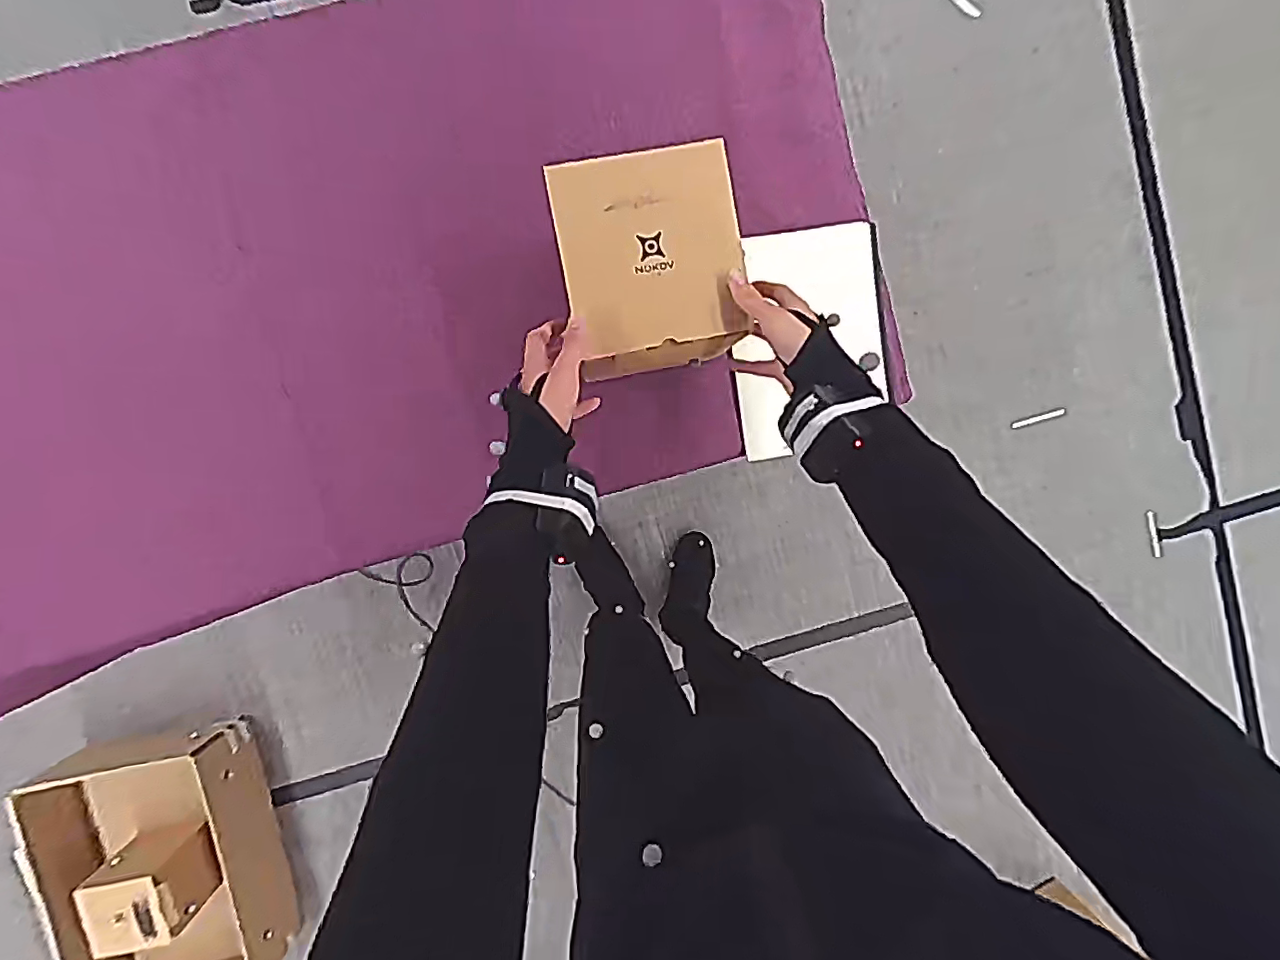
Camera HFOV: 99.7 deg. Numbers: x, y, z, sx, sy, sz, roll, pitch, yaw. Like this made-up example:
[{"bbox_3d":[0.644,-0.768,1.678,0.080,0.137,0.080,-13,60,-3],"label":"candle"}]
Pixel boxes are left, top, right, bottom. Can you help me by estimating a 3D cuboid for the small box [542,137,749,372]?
[{"bbox_3d":[0.002,-0.214,0.564,0.168,0.176,0.179,-11,95,-4],"label":"small box"}]
